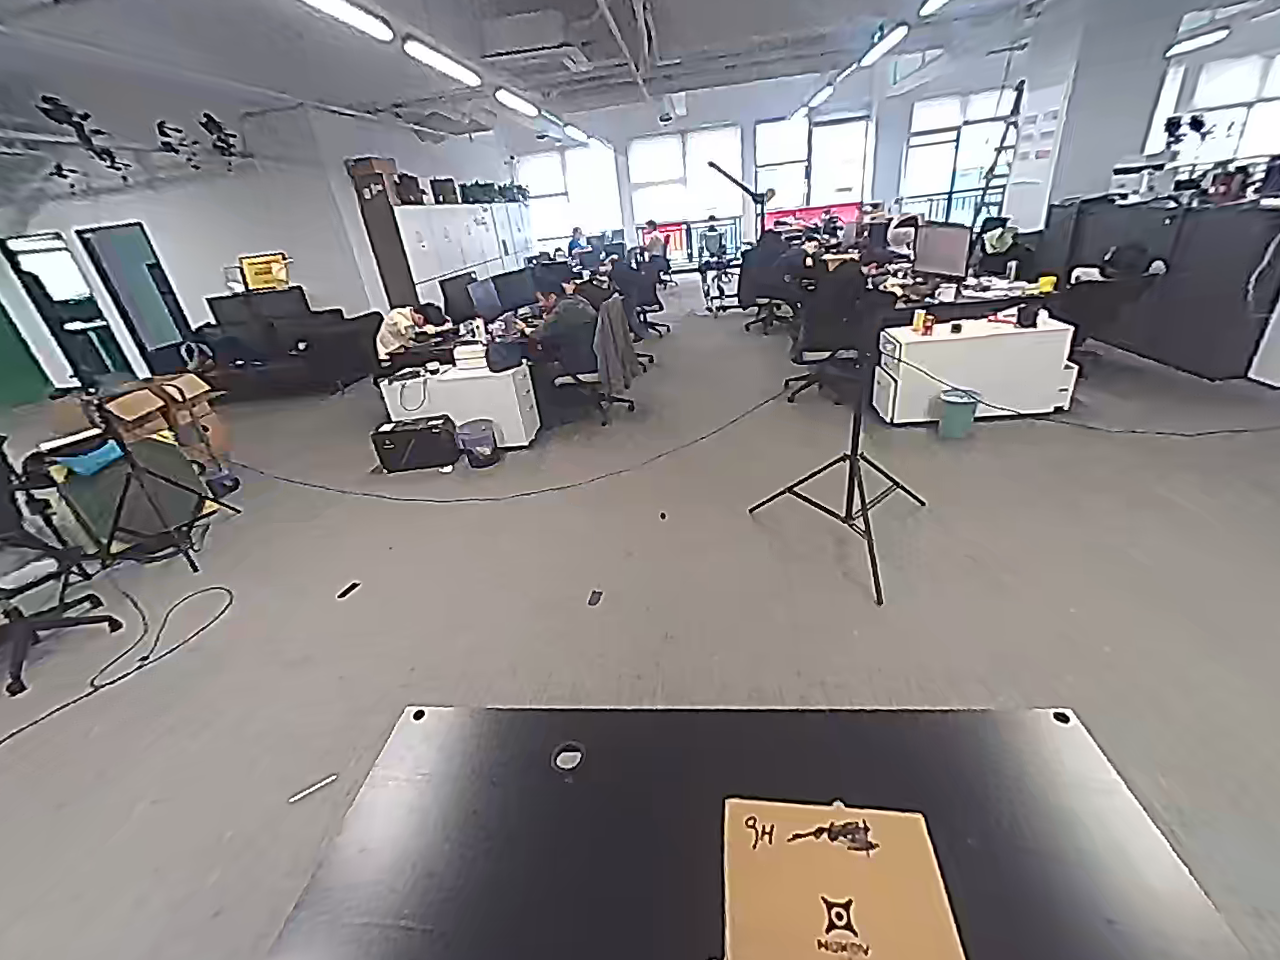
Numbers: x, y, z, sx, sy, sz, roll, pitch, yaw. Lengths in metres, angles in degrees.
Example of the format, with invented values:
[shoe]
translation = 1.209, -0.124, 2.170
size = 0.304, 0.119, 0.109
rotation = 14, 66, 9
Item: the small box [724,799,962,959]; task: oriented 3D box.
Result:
[small box]
translation = 0.153, 0.395, 0.439
size = 0.168, 0.176, 0.179
rotation = 0, 35, 9
